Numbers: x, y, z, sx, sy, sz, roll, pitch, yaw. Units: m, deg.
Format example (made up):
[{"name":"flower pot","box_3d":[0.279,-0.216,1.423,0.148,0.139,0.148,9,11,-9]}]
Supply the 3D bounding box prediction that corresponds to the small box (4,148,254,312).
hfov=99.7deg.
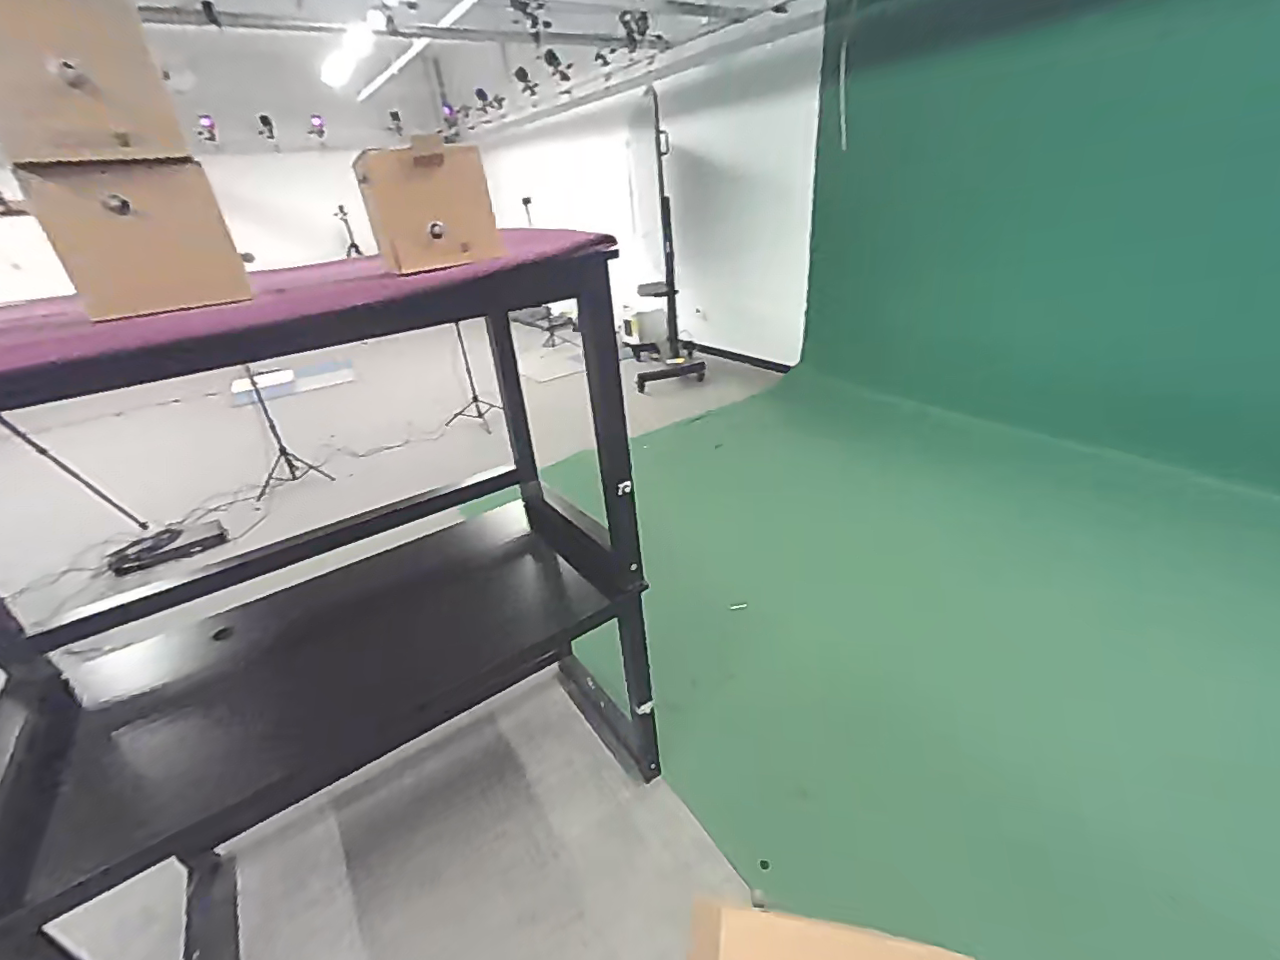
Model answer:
[{"name":"small box","box_3d":[-0.646,-0.326,0.715,0.179,0.176,0.168,-21,31,-27]}]

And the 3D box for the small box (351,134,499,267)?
[{"name":"small box","box_3d":[-0.347,-0.445,0.875,0.168,0.176,0.179,-22,31,-24]}]

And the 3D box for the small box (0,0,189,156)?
[{"name":"small box","box_3d":[-0.660,-0.465,0.628,0.168,0.176,0.179,-25,33,-31]}]
